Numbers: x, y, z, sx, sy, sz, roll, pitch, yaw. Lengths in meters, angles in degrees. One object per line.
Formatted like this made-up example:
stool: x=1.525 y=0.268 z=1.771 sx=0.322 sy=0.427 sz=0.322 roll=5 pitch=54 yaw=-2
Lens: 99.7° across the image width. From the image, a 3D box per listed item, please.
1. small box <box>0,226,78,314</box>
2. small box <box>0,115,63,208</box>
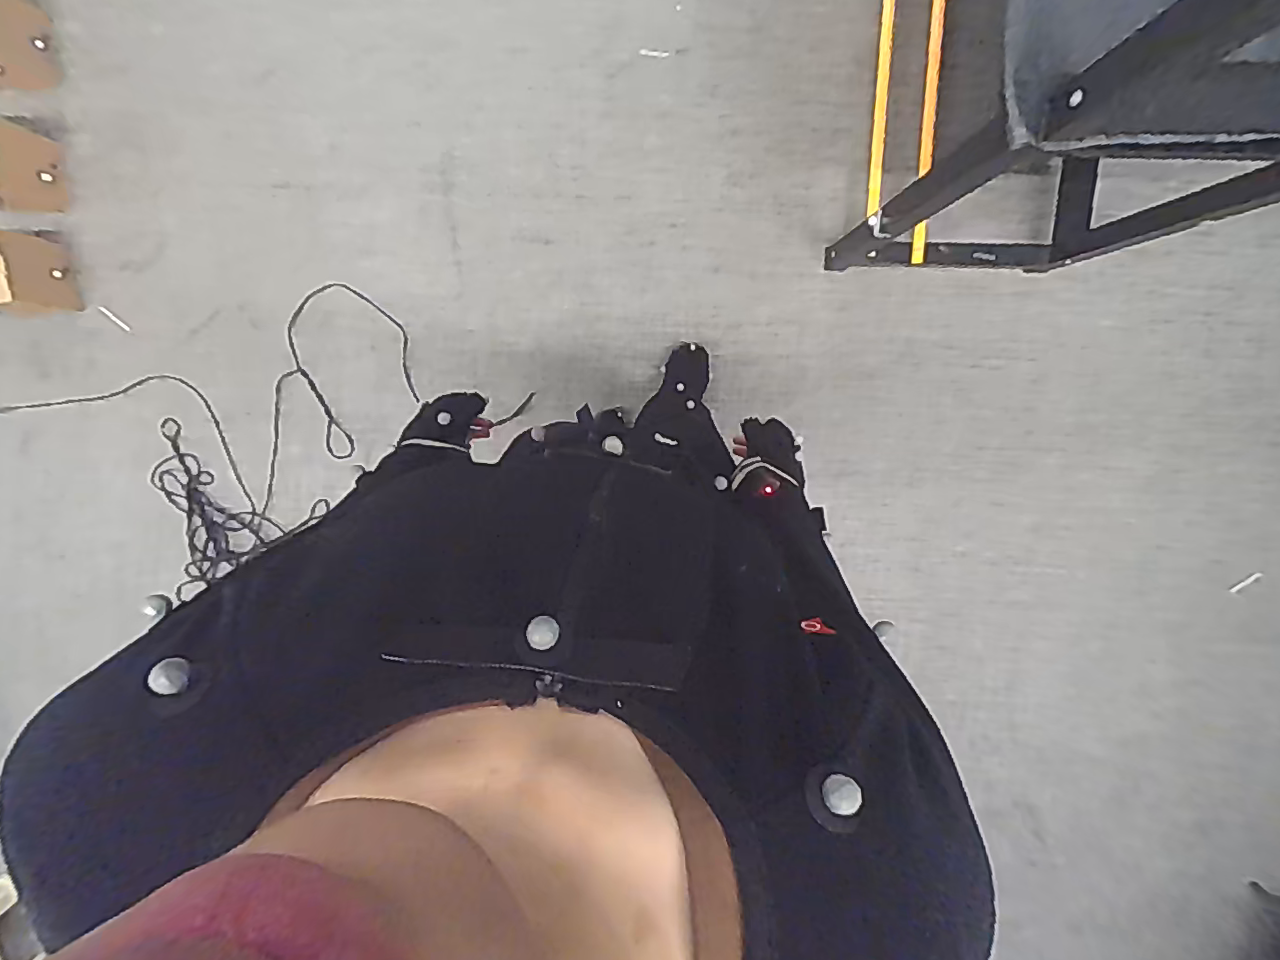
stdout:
small box: x=-1.534 y=-0.500 z=1.299 sx=0.179 sy=0.176 sz=0.168 roll=-6 pitch=100 yaw=0
small box: x=-1.525 y=-0.749 z=1.261 sx=0.179 sy=0.176 sz=0.168 roll=2 pitch=99 yaw=-2
